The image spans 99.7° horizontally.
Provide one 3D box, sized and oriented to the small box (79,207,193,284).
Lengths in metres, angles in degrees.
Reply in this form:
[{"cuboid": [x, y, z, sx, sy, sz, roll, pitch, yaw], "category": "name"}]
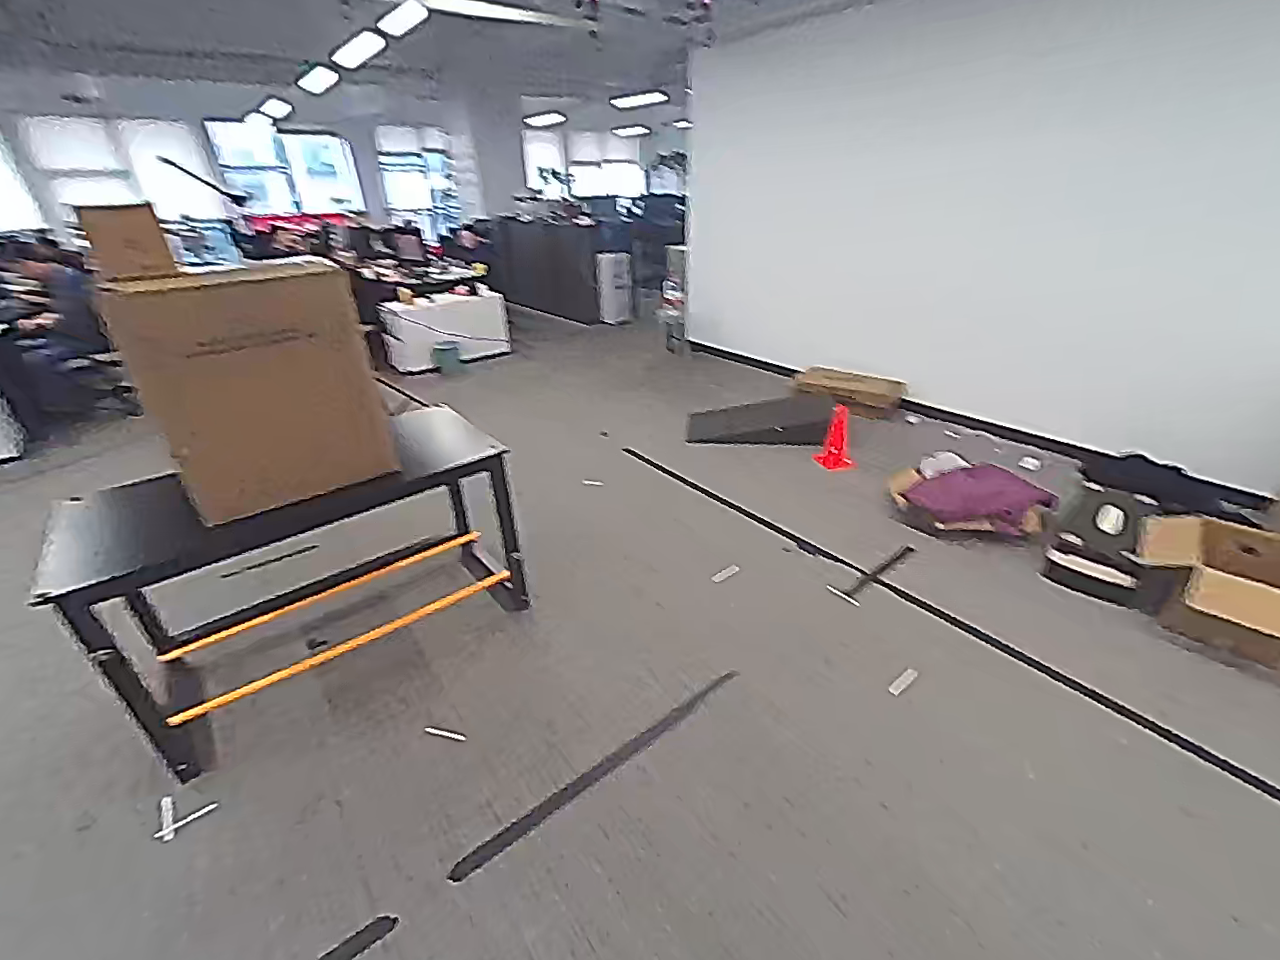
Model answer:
[{"cuboid": [-1.281, -0.601, 1.386, 0.168, 0.176, 0.179, -21, 33, -32], "category": "small box"}]
